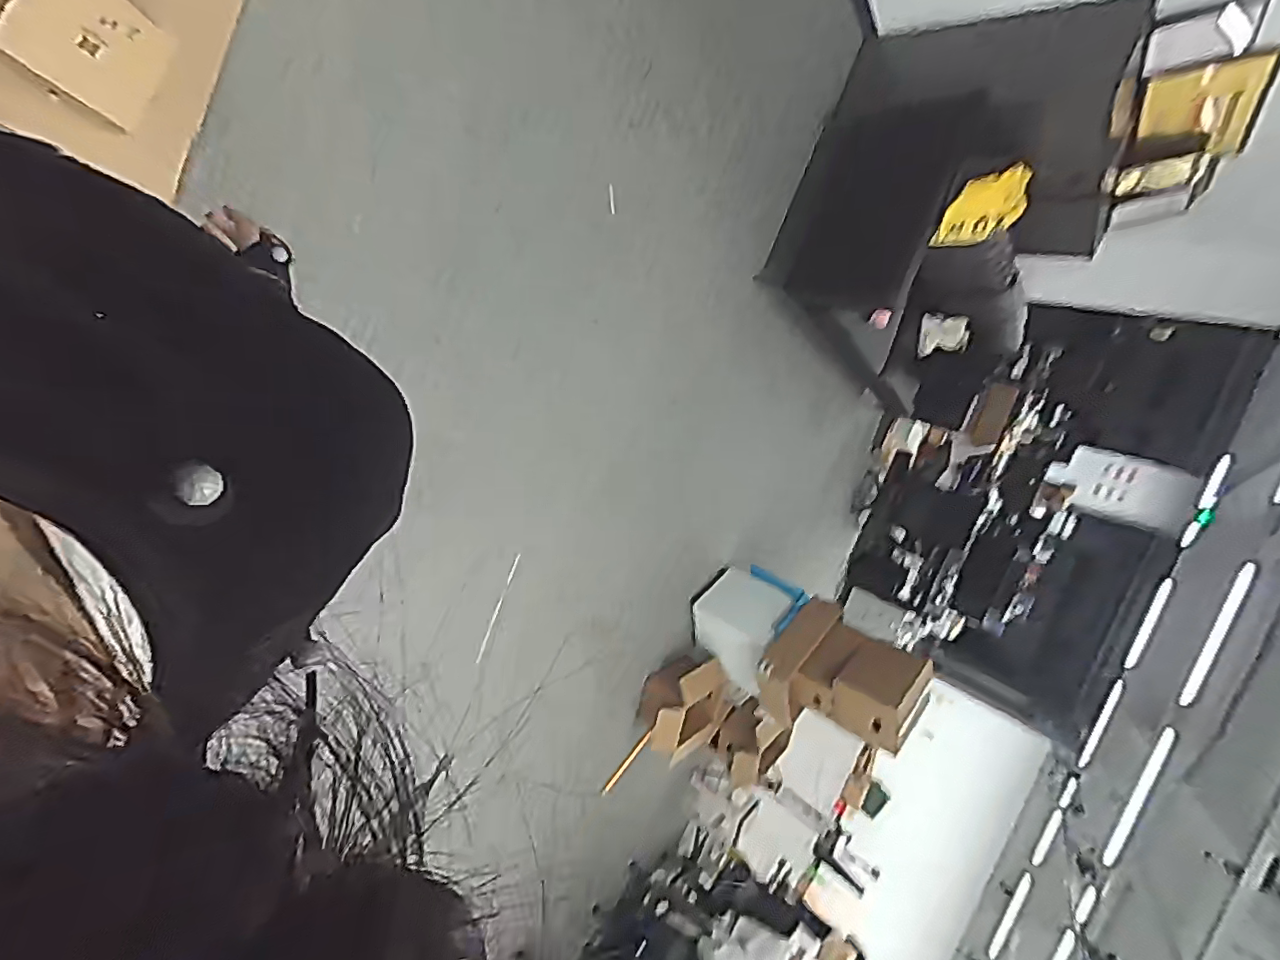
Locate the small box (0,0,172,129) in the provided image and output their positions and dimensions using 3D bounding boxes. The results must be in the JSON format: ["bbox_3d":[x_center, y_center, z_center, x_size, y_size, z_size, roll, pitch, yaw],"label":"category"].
[{"bbox_3d":[-0.912,-0.703,0.873,0.168,0.176,0.179,32,83,-54],"label":"small box"}]
